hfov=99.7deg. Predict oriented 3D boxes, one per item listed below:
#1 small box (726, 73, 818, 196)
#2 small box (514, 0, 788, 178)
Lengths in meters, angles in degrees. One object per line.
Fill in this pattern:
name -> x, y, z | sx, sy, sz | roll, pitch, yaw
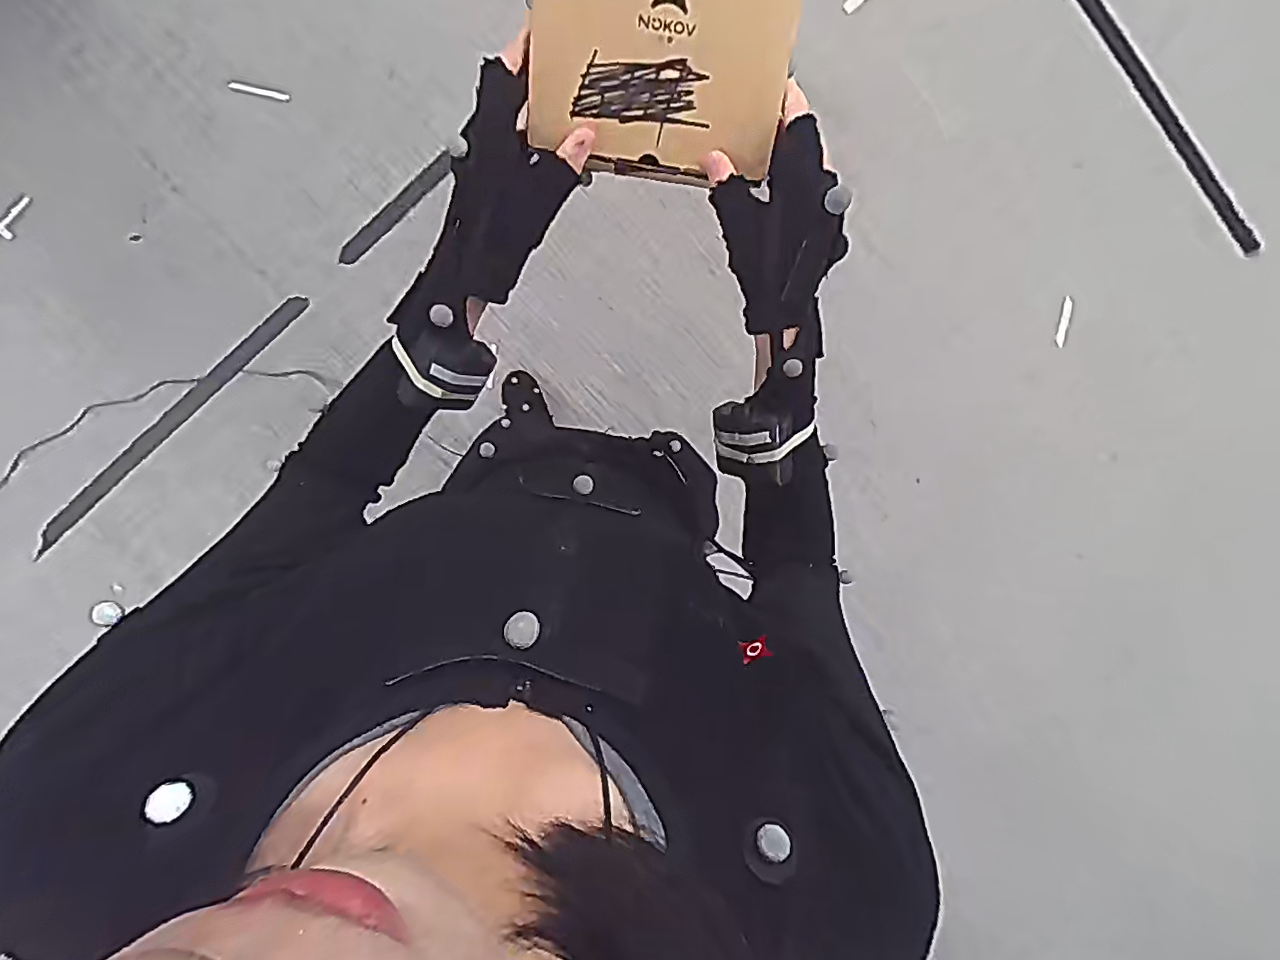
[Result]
small box -> 0.303, -0.842, 1.336 | 0.179, 0.176, 0.168 | -26, 97, 2
small box -> 0.007, -0.331, 0.395 | 0.168, 0.176, 0.179 | 6, 116, -5
